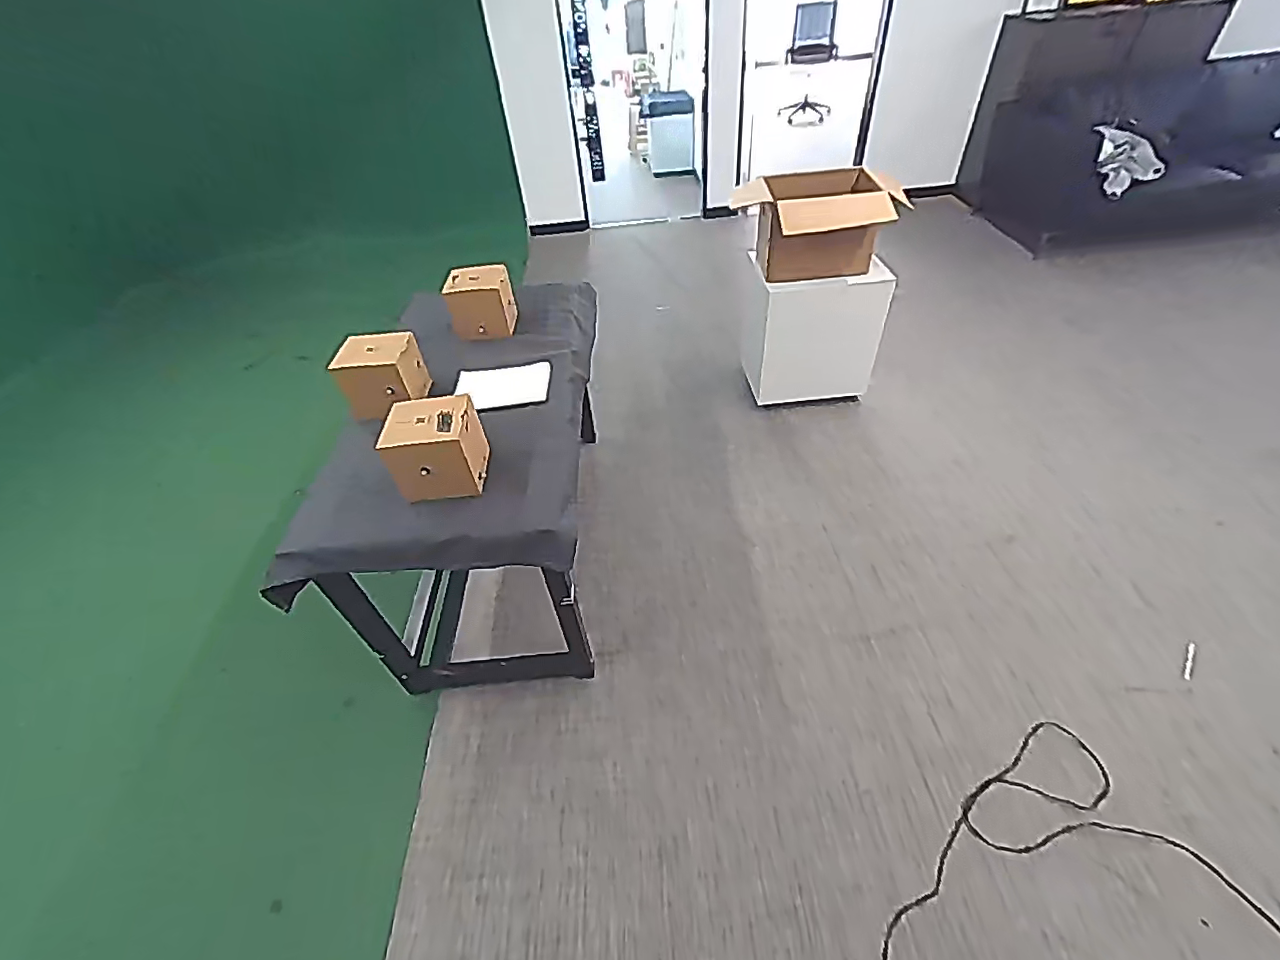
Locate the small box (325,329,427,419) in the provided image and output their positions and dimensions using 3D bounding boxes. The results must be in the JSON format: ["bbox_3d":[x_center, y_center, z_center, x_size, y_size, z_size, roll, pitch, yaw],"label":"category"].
[{"bbox_3d":[-0.695,-0.283,1.450,0.179,0.176,0.168,-6,43,0],"label":"small box"}]

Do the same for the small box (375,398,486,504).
[{"bbox_3d":[-0.460,-0.063,1.223,0.179,0.176,0.168,-6,43,-1],"label":"small box"}]

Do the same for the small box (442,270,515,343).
[{"bbox_3d":[-0.508,-0.554,1.731,0.179,0.176,0.168,-4,44,0],"label":"small box"}]
